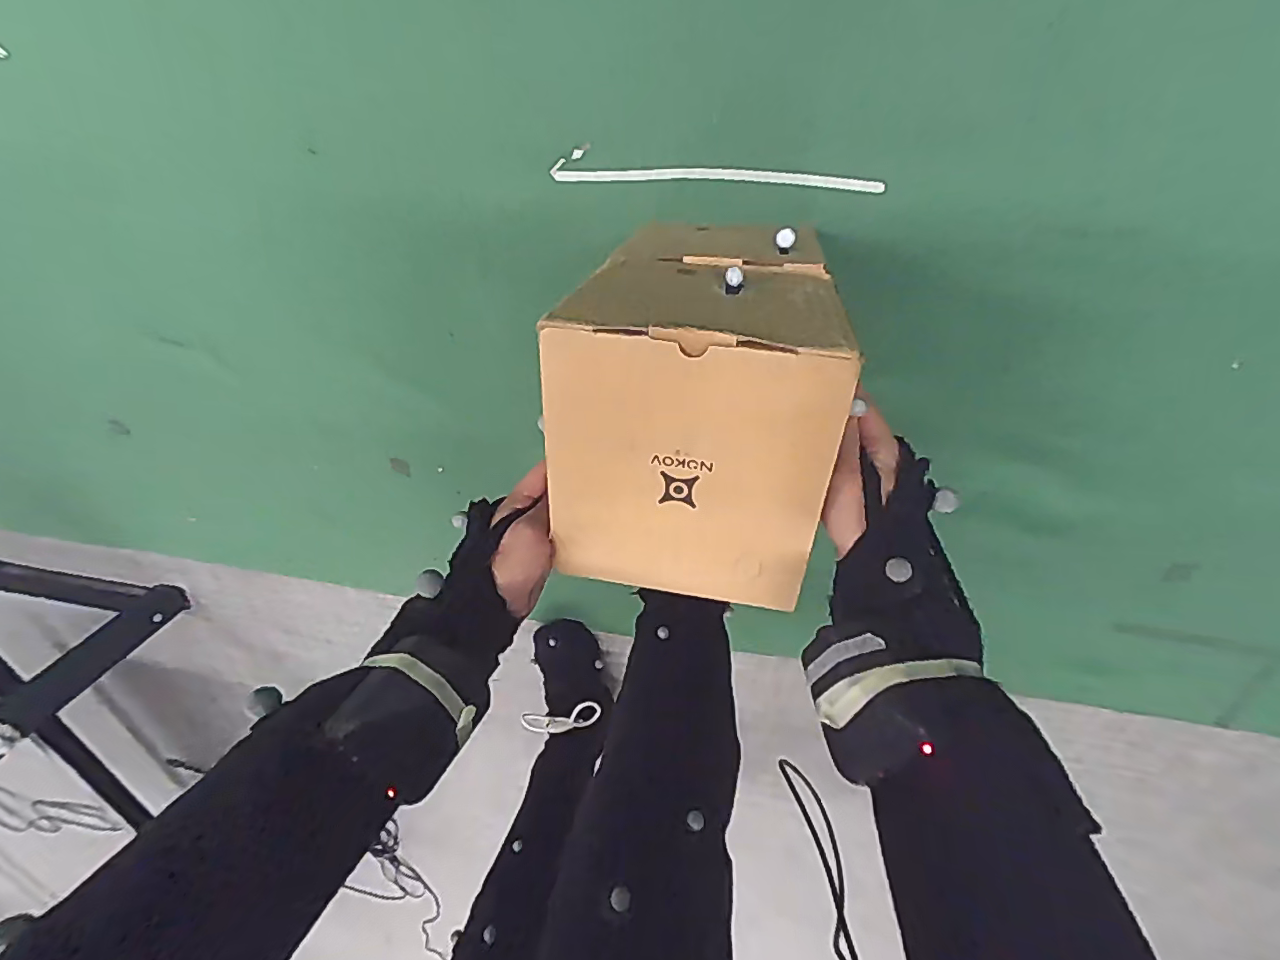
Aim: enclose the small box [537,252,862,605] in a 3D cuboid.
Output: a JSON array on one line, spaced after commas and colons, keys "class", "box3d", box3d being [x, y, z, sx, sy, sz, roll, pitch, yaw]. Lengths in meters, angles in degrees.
[{"class": "small box", "box3d": [0.040, -0.046, 0.376, 0.168, 0.176, 0.179, 8, 123, 9]}]
